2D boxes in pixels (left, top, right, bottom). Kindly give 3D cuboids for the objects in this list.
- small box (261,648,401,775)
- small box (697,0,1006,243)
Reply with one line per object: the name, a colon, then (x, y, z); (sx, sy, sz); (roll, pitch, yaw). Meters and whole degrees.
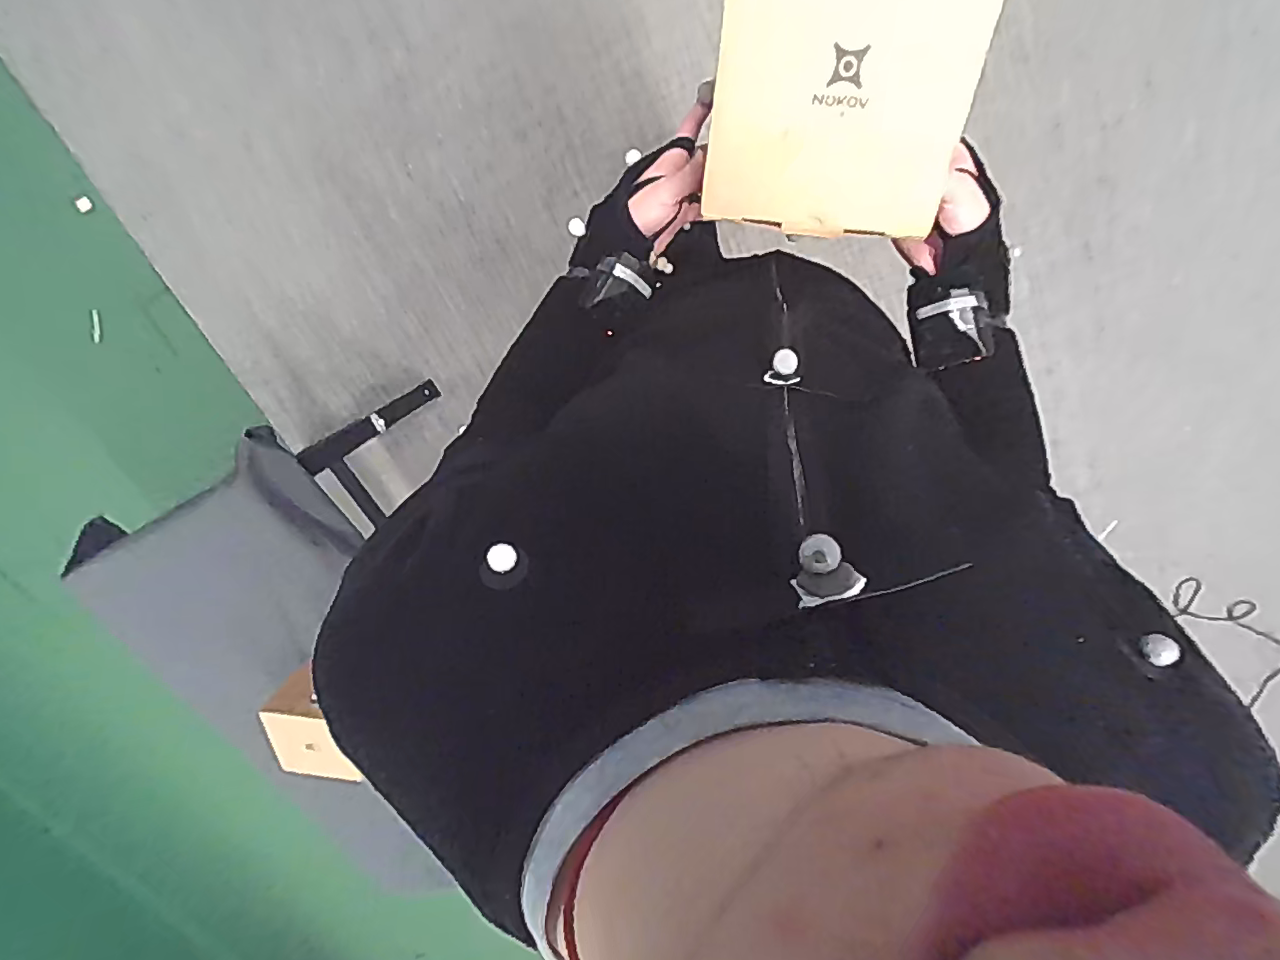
small box: (-0.616, 0.466, 1.109); (0.179, 0.176, 0.168); (3, 116, 9)
small box: (0.139, -0.296, 0.415); (0.168, 0.176, 0.179); (7, 121, 2)
